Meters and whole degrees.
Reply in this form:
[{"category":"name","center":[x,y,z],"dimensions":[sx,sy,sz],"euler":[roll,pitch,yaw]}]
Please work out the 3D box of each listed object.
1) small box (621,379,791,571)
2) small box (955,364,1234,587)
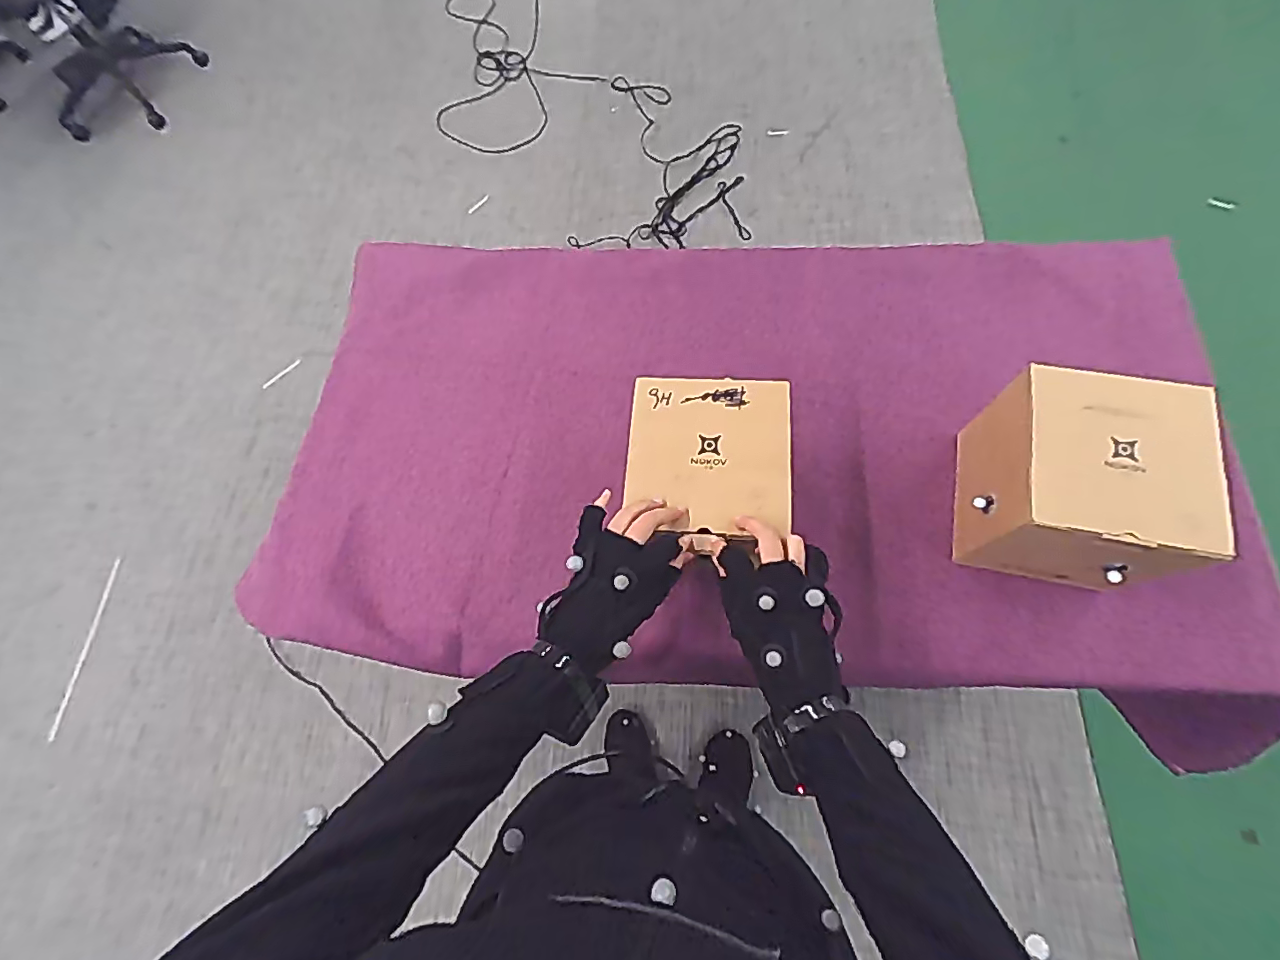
[{"category":"small box","center":[0.078,0.003,0.623],"dimensions":[0.168,0.176,0.179],"euler":[3,70,7]},{"category":"small box","center":[0.462,0.005,0.581],"dimensions":[0.168,0.176,0.179],"euler":[11,70,10]}]
